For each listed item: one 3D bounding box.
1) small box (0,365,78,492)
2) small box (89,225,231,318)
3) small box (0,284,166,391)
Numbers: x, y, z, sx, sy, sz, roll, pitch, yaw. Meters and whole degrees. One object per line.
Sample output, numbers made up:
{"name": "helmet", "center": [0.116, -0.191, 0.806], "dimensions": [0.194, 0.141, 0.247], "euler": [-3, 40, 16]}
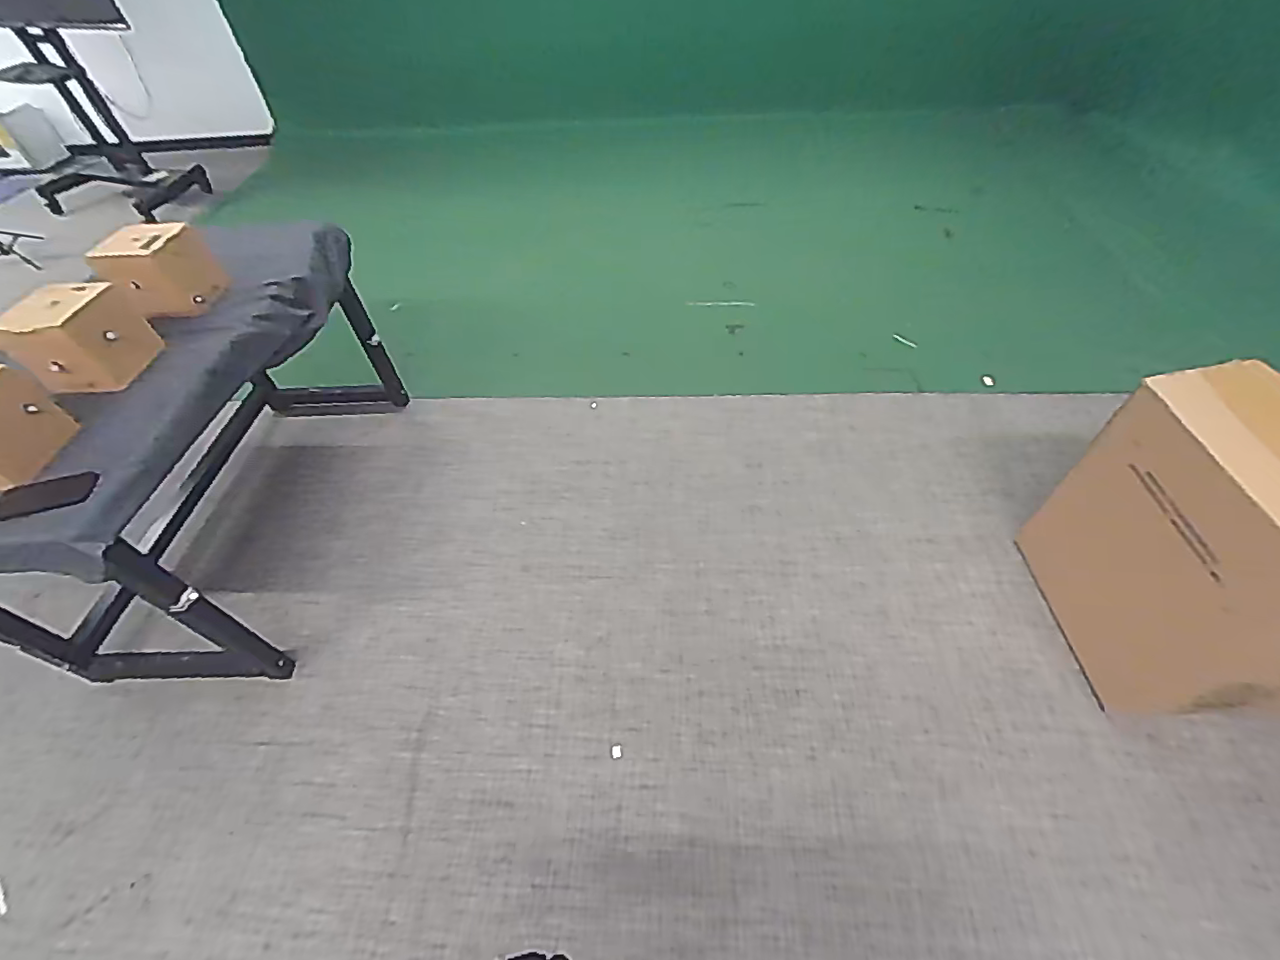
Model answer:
{"name": "small box", "center": [-1.240, -0.094, 1.019], "dimensions": [0.168, 0.176, 0.179], "euler": [-3, 51, 2]}
{"name": "small box", "center": [-1.212, -0.530, 1.384], "dimensions": [0.179, 0.176, 0.168], "euler": [0, 50, 5]}
{"name": "small box", "center": [-1.223, -0.311, 1.201], "dimensions": [0.168, 0.176, 0.179], "euler": [-1, 50, 3]}
